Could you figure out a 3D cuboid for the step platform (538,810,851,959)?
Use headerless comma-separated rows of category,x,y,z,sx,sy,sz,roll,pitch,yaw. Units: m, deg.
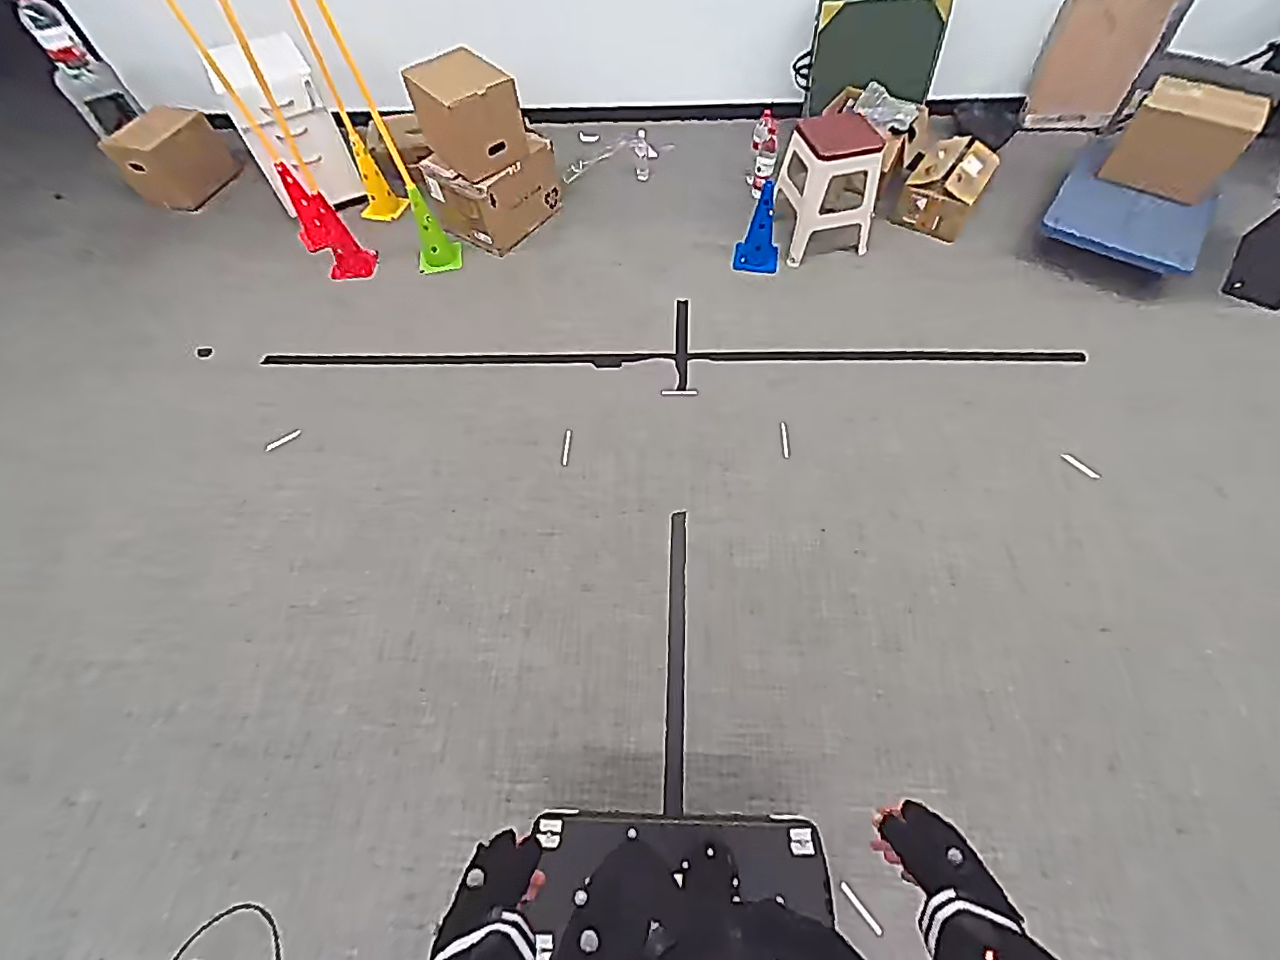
step platform,0.113,0.924,1.234,0.684,0.204,0.286,0,58,1
